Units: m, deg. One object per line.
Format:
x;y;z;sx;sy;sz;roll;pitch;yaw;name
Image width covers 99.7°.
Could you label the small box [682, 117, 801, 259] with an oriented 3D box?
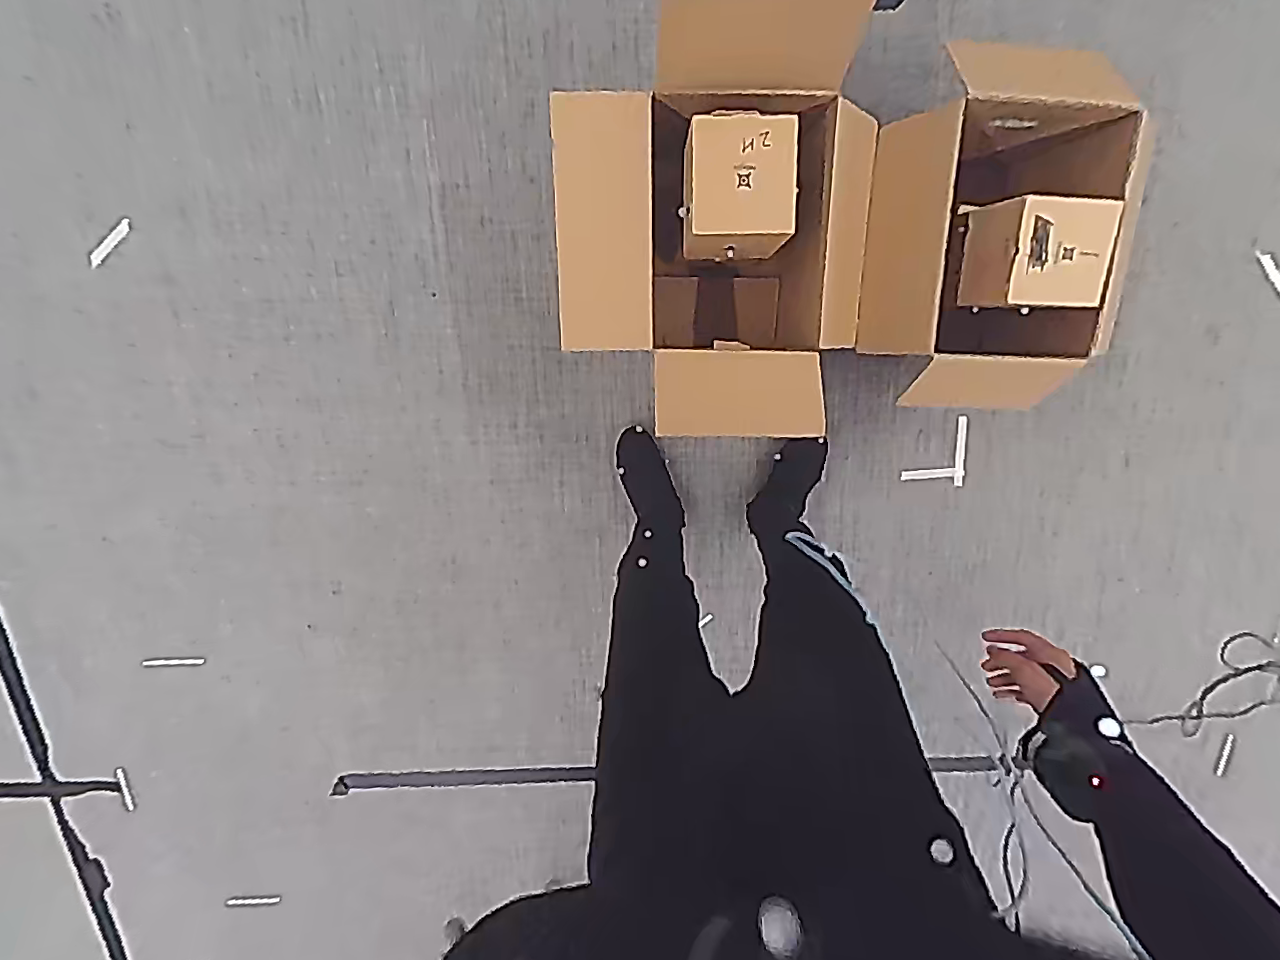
0.163;-0.480;0.915;0.168;0.176;0.179;-1;99;-1;small box
